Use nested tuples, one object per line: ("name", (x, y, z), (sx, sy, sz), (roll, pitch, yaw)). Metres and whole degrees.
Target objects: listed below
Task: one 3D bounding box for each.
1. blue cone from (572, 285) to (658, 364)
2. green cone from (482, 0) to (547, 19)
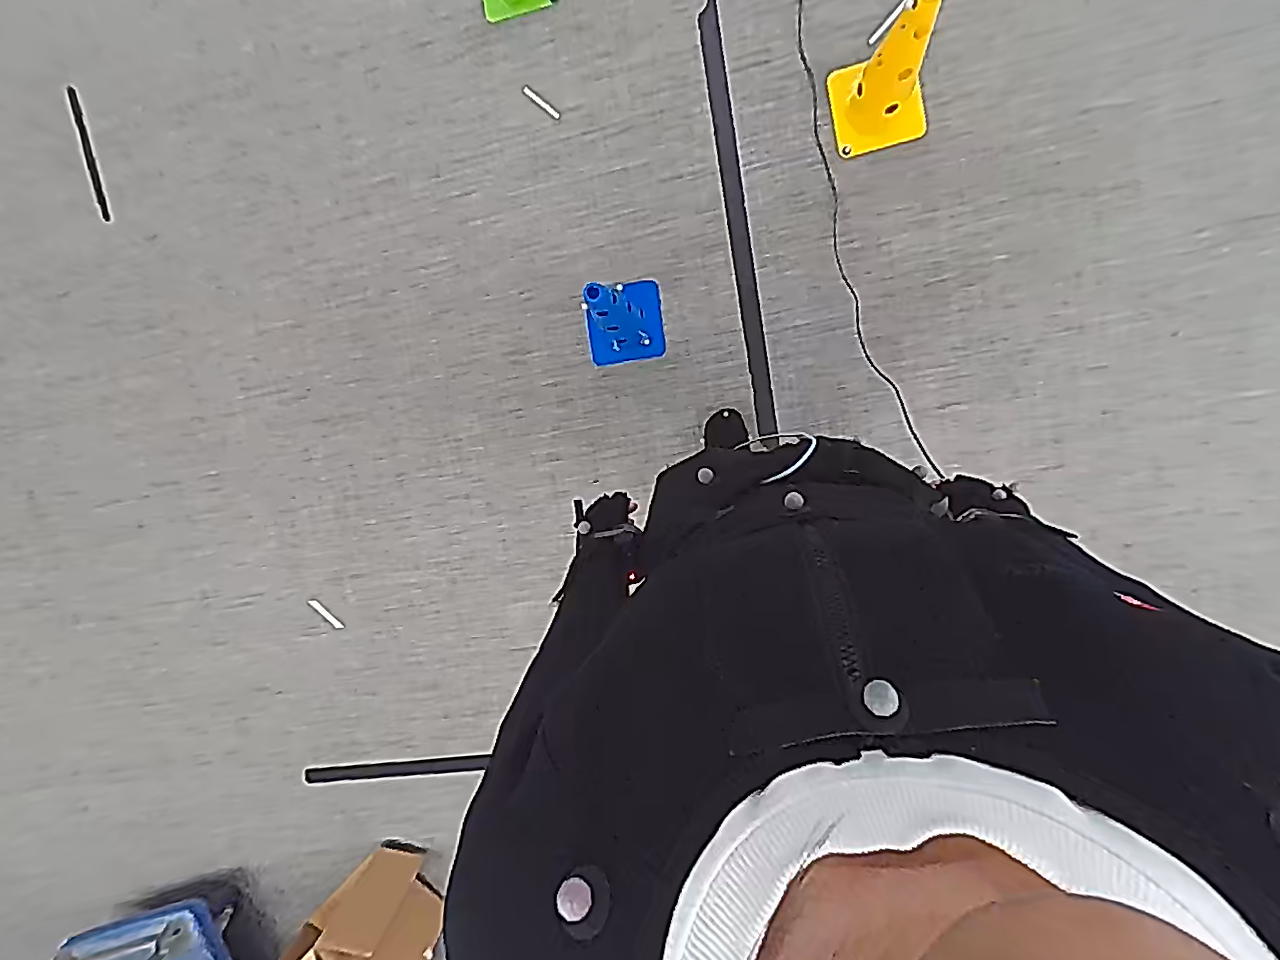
("blue cone", (-0.078, -0.392, 1.264), (0.192, 0.380, 0.193), (-5, 95, 10))
("green cone", (-0.344, -1.269, 1.190), (0.202, 0.368, 0.200), (-9, 95, 11))
